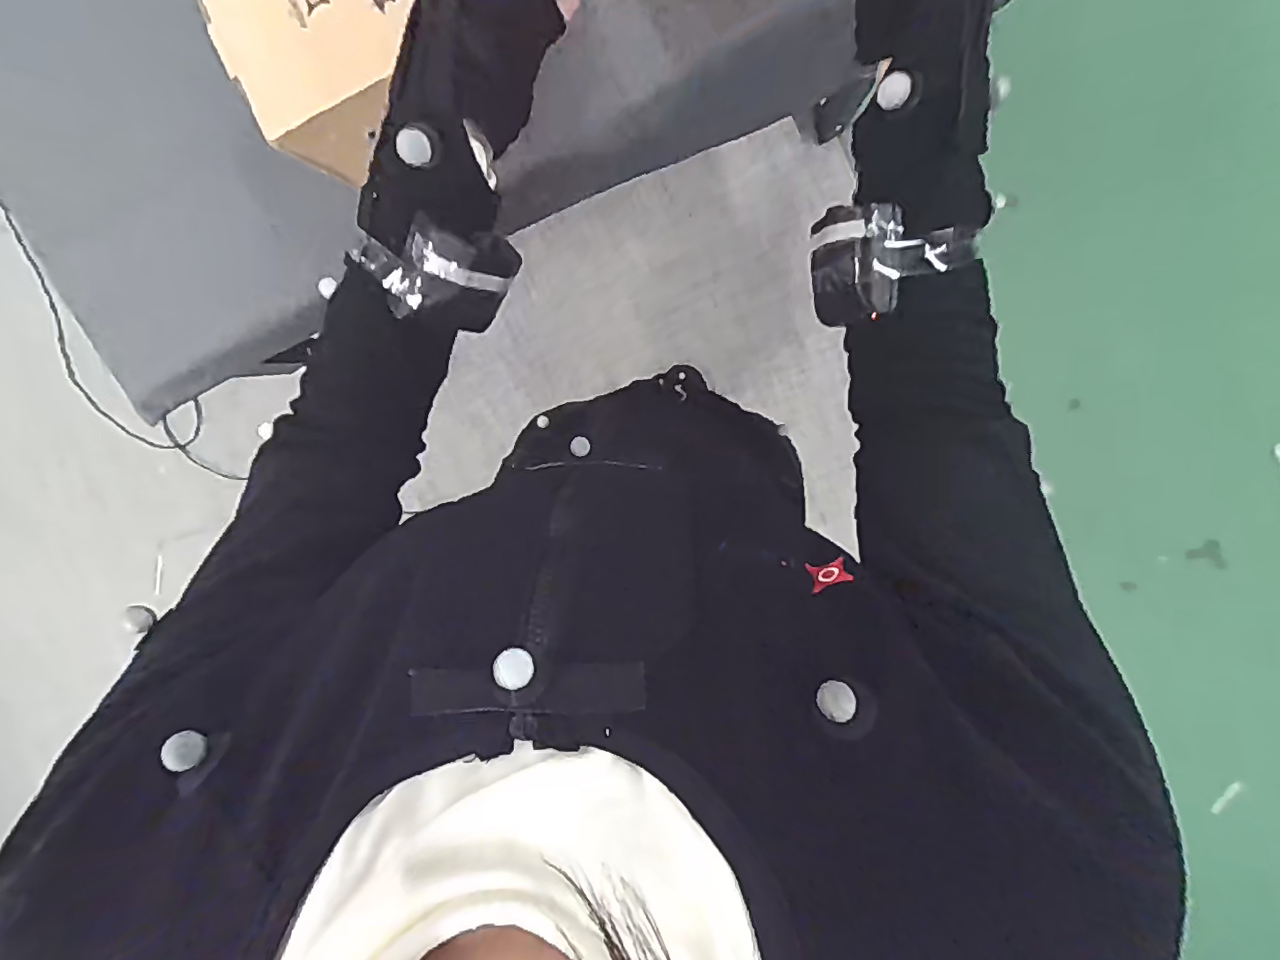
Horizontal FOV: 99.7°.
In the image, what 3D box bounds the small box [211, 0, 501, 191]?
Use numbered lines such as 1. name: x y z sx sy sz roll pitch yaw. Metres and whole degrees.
1. small box: -0.270 -0.423 0.540 0.179 0.176 0.168 -20 99 10
